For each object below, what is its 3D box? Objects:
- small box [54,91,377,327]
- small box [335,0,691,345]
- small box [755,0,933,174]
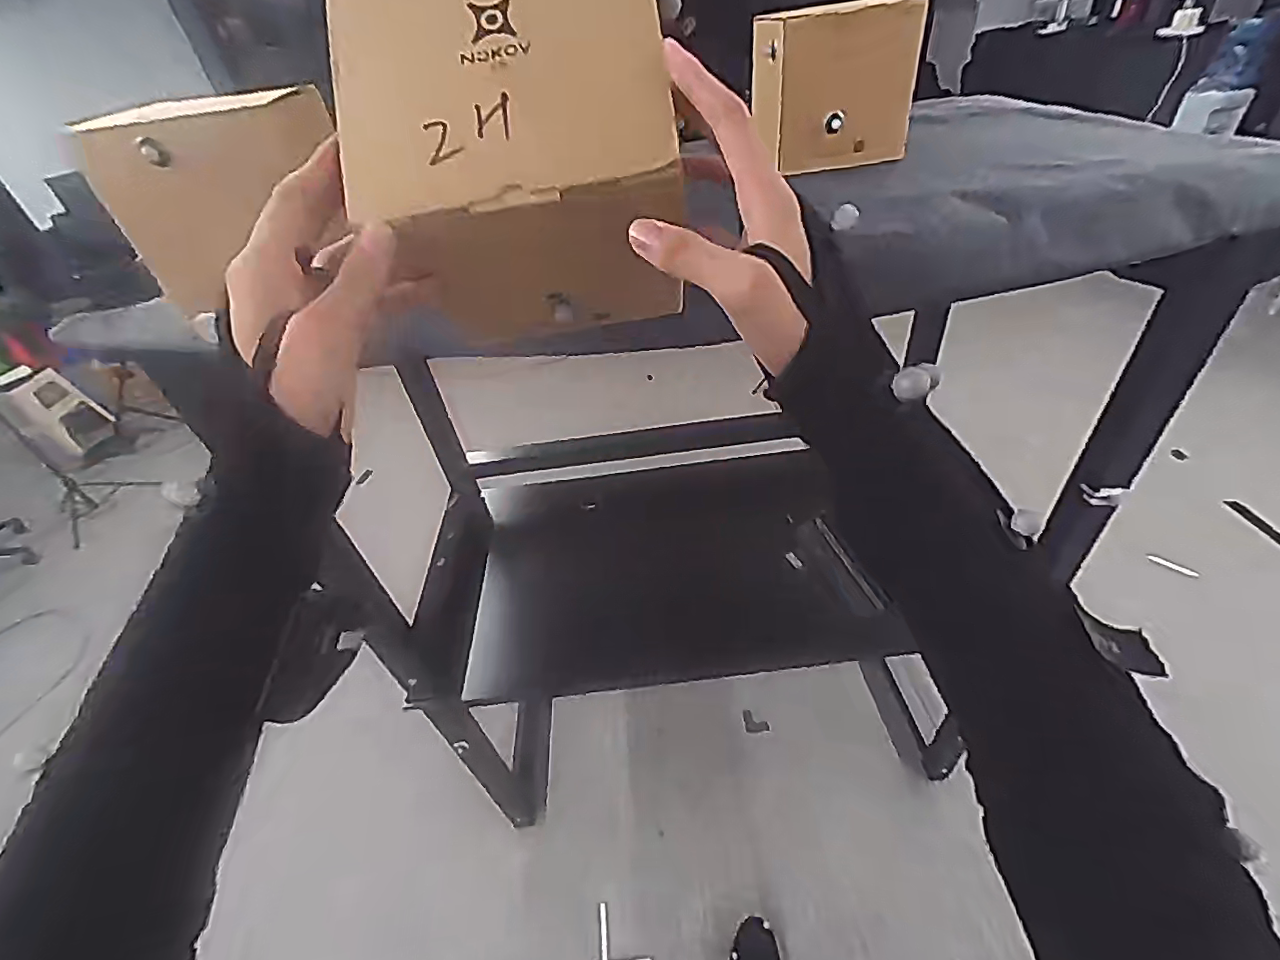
[{"bbox_3d":[-0.392,-0.276,0.548,0.168,0.176,0.179,-12,41,-4],"label":"small box"},{"bbox_3d":[-0.063,-0.207,0.346,0.168,0.176,0.179,-9,85,3],"label":"small box"},{"bbox_3d":[0.252,-0.524,0.722,0.168,0.176,0.179,-8,41,2],"label":"small box"}]
